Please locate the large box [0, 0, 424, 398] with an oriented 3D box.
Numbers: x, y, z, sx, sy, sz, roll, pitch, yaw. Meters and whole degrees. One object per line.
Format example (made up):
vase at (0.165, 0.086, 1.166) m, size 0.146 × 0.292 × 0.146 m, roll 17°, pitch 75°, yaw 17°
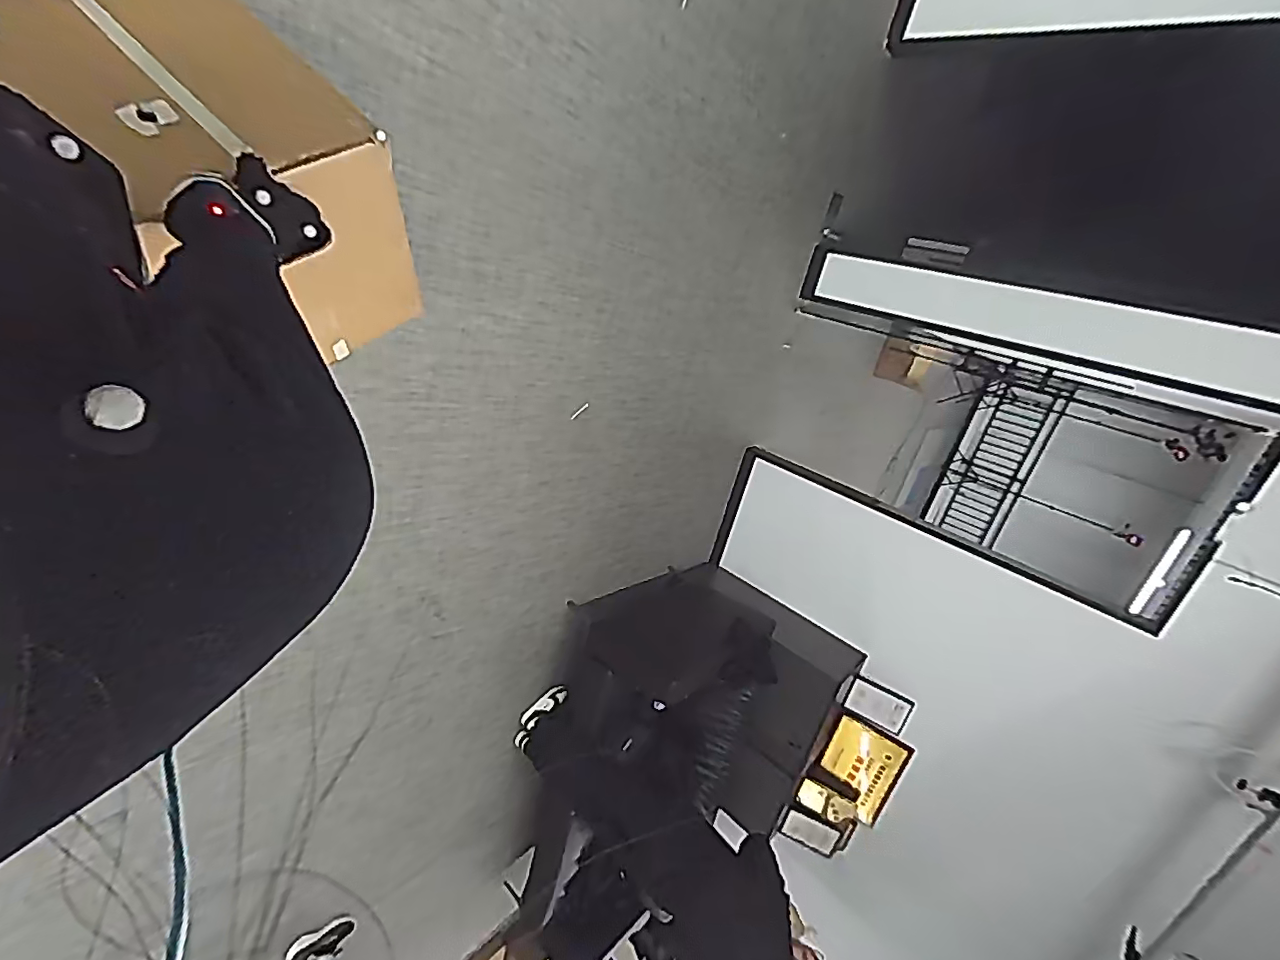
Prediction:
large box at (-0.582, -0.401, 0.771) m, size 0.320 × 0.408 × 0.320 m, roll -43°, pitch 169°, yaw -26°
